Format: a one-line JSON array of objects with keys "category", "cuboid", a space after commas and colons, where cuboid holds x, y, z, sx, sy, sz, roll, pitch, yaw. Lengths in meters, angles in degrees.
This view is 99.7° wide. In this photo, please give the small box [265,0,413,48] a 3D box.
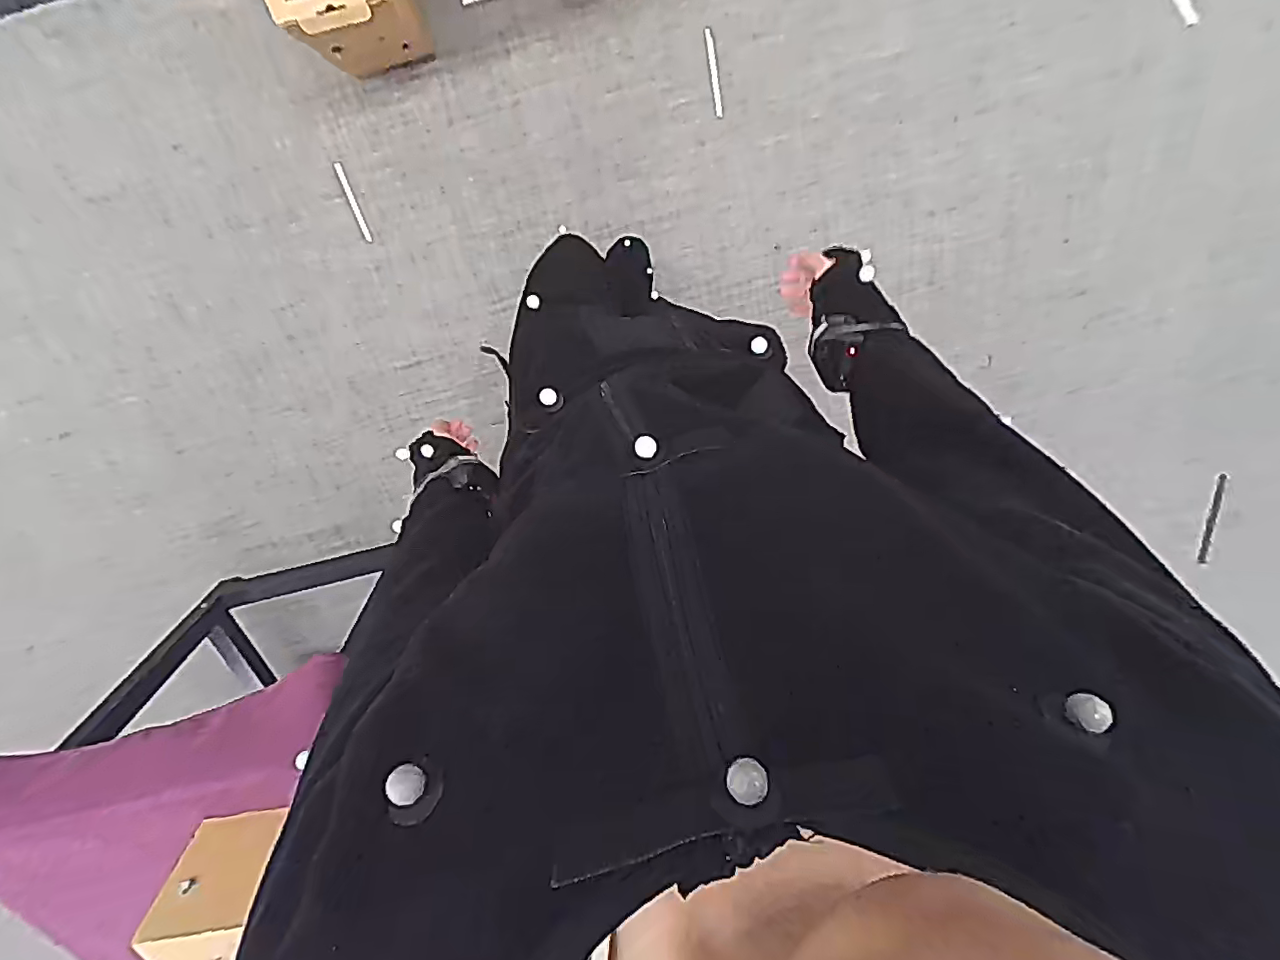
[{"category": "small box", "cuboid": [-0.460, -0.767, 0.790, 0.168, 0.176, 0.179, -15, 116, 0]}]

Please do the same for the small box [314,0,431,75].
[{"category": "small box", "cuboid": [-0.484, -0.838, 0.936, 0.179, 0.176, 0.168, -17, 116, 3]}]
